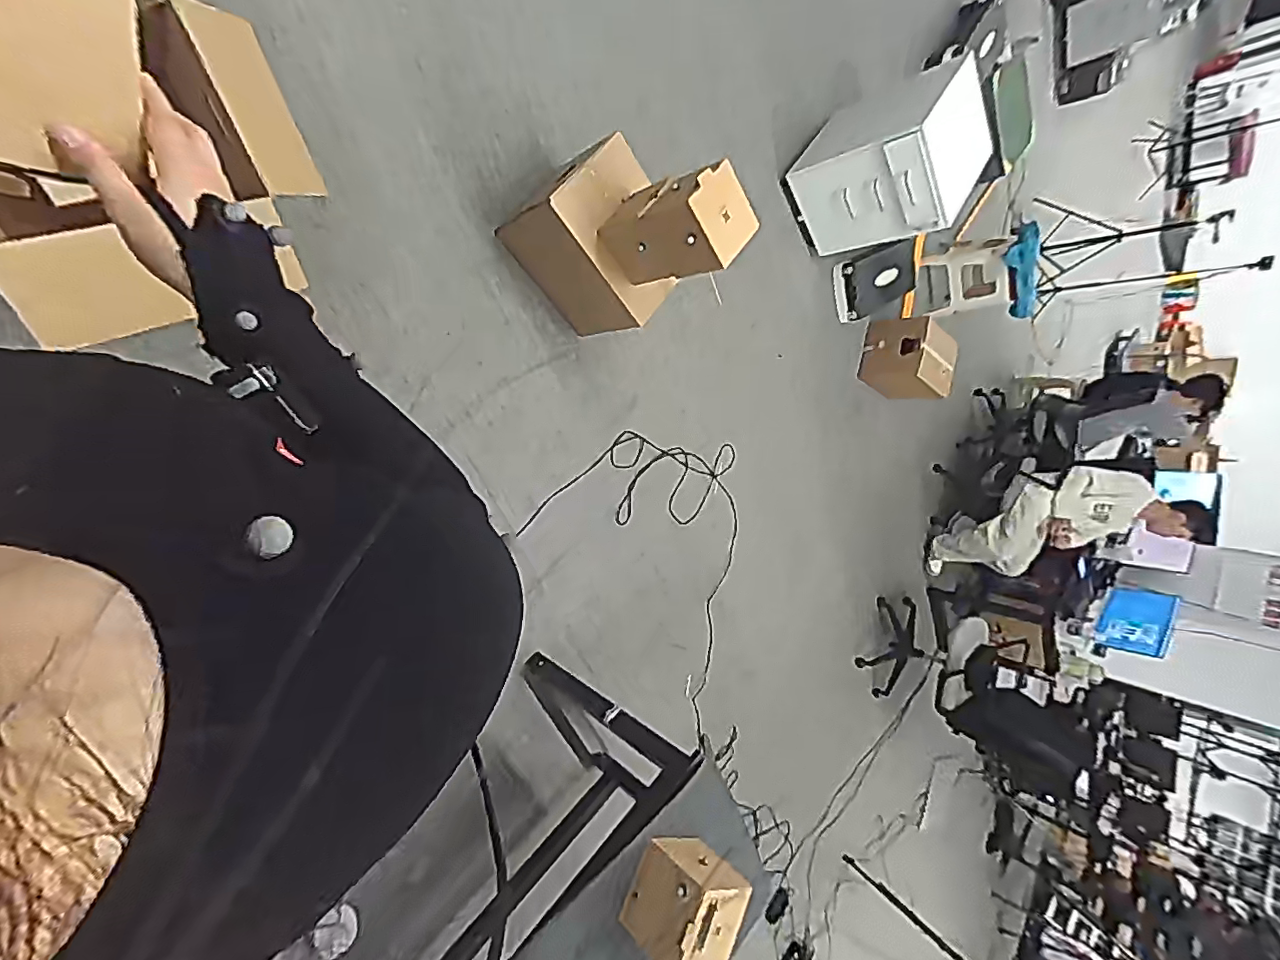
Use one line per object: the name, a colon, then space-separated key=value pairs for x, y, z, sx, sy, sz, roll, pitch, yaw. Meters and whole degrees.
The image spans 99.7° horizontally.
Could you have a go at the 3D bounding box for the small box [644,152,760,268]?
small box: x=0.145 y=-0.627 z=1.281 sx=0.168 sy=0.176 sz=0.179 roll=-54 pitch=125 yaw=-19

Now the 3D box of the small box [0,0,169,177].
small box: x=-0.420 y=-0.313 z=0.346 sx=0.168 sy=0.176 sz=0.179 roll=-5 pitch=115 yaw=-41

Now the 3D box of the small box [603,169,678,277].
small box: x=0.037 y=-0.655 z=1.400 sx=0.168 sy=0.176 sz=0.179 roll=-54 pitch=126 yaw=-19
